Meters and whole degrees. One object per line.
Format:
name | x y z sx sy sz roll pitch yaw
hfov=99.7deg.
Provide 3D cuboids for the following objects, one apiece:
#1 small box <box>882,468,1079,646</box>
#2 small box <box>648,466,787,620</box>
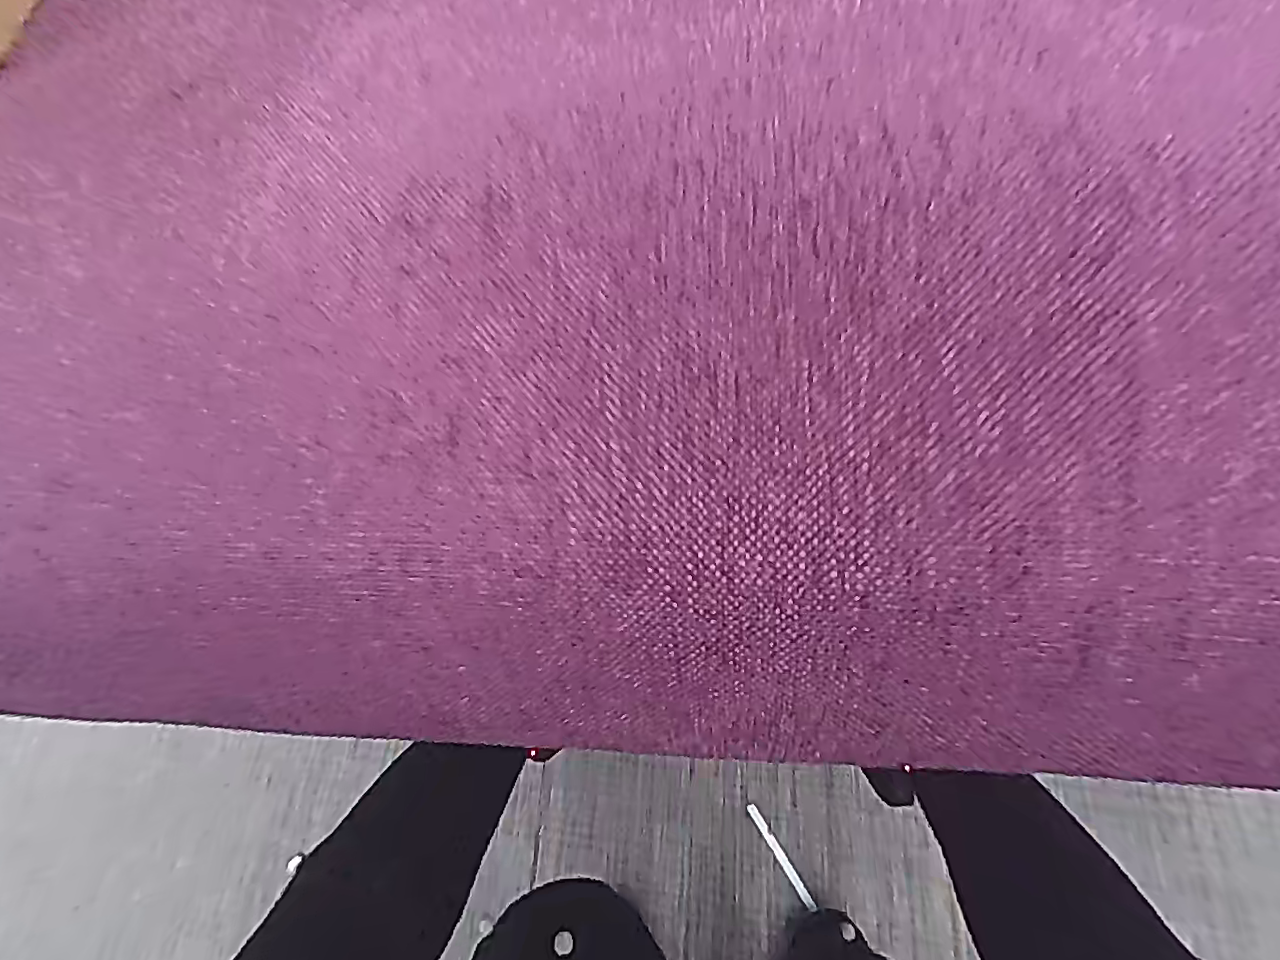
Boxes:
small box | 0.413 0.104 0.681 0.168 0.176 0.179 8 71 14
small box | 0.111 0.093 0.739 0.168 0.176 0.179 2 70 11
